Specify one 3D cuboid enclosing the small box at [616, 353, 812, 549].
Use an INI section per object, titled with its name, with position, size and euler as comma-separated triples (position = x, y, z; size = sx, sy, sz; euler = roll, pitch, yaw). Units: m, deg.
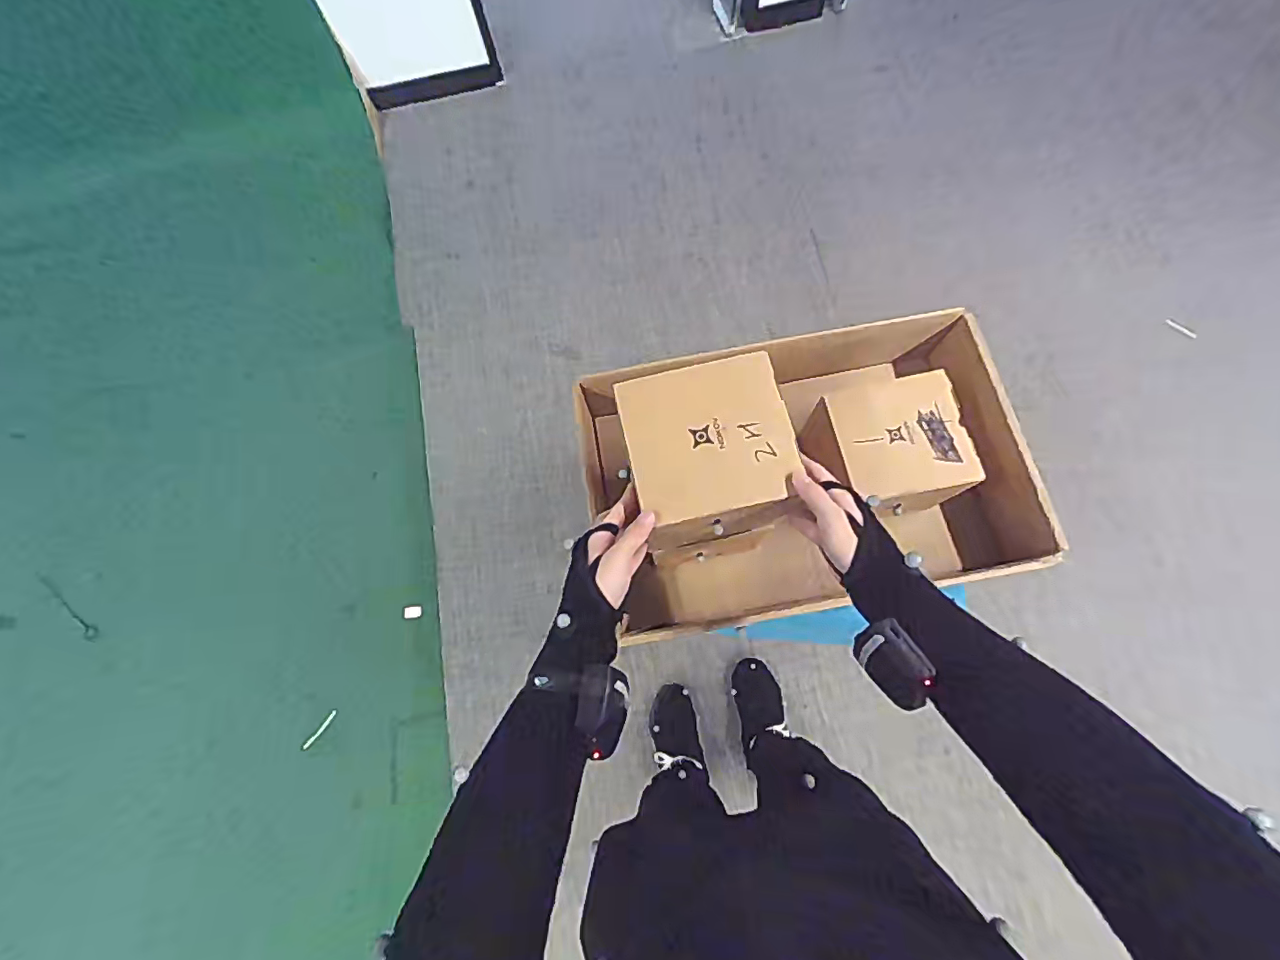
[small box]
position = 0.078, -0.023, 0.641
size = 0.179, 0.176, 0.168
euler = -12, 75, -1
